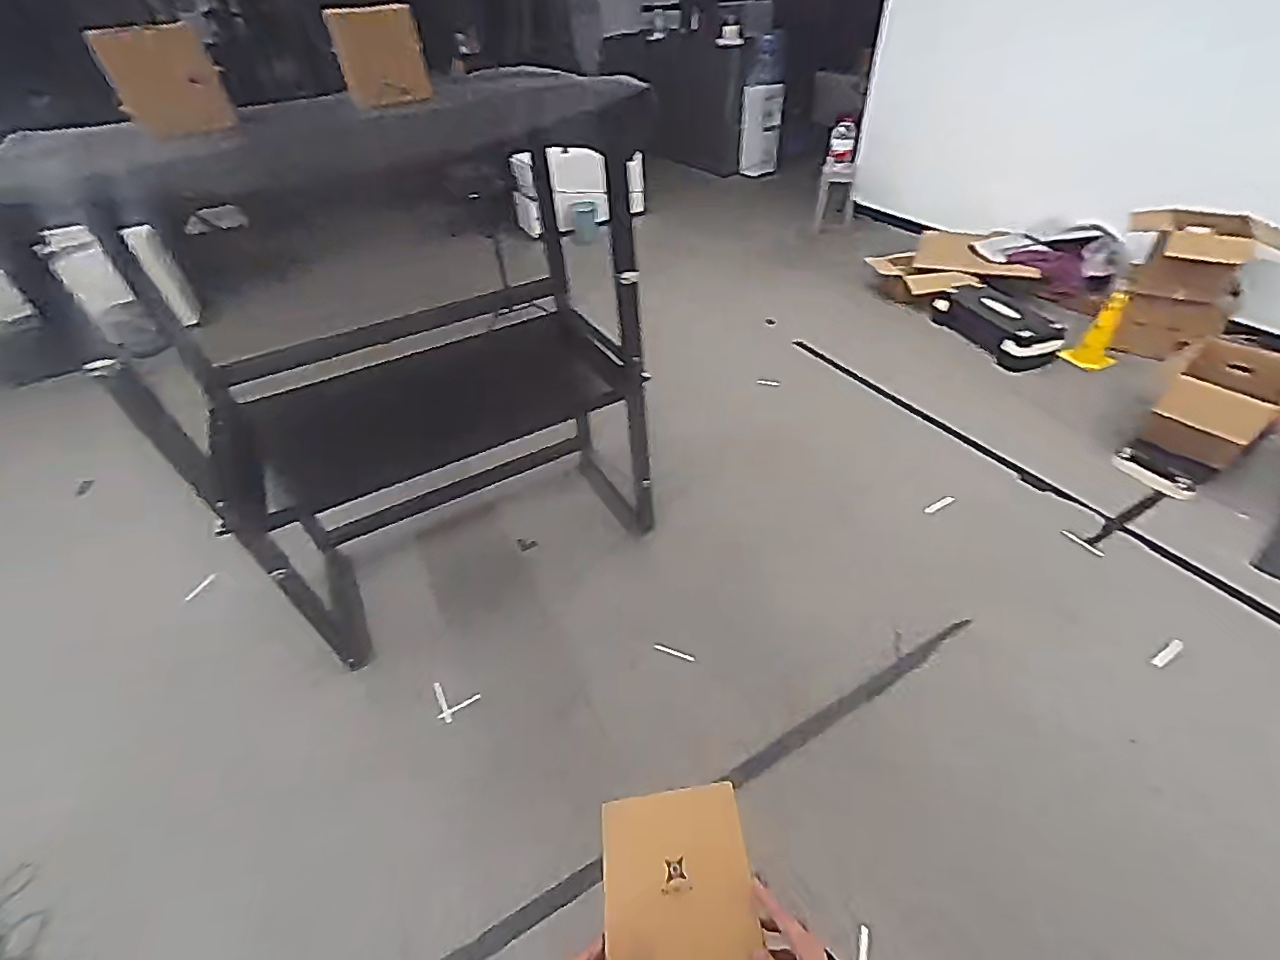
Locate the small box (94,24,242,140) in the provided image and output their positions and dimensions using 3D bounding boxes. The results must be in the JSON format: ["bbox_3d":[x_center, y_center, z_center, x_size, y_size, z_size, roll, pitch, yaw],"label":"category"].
[{"bbox_3d":[-0.953,-0.820,1.111,0.179,0.176,0.168,-25,47,-22],"label":"small box"}]

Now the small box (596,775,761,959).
[{"bbox_3d":[0.045,0.497,0.656,0.168,0.176,0.179,-12,38,2],"label":"small box"}]
